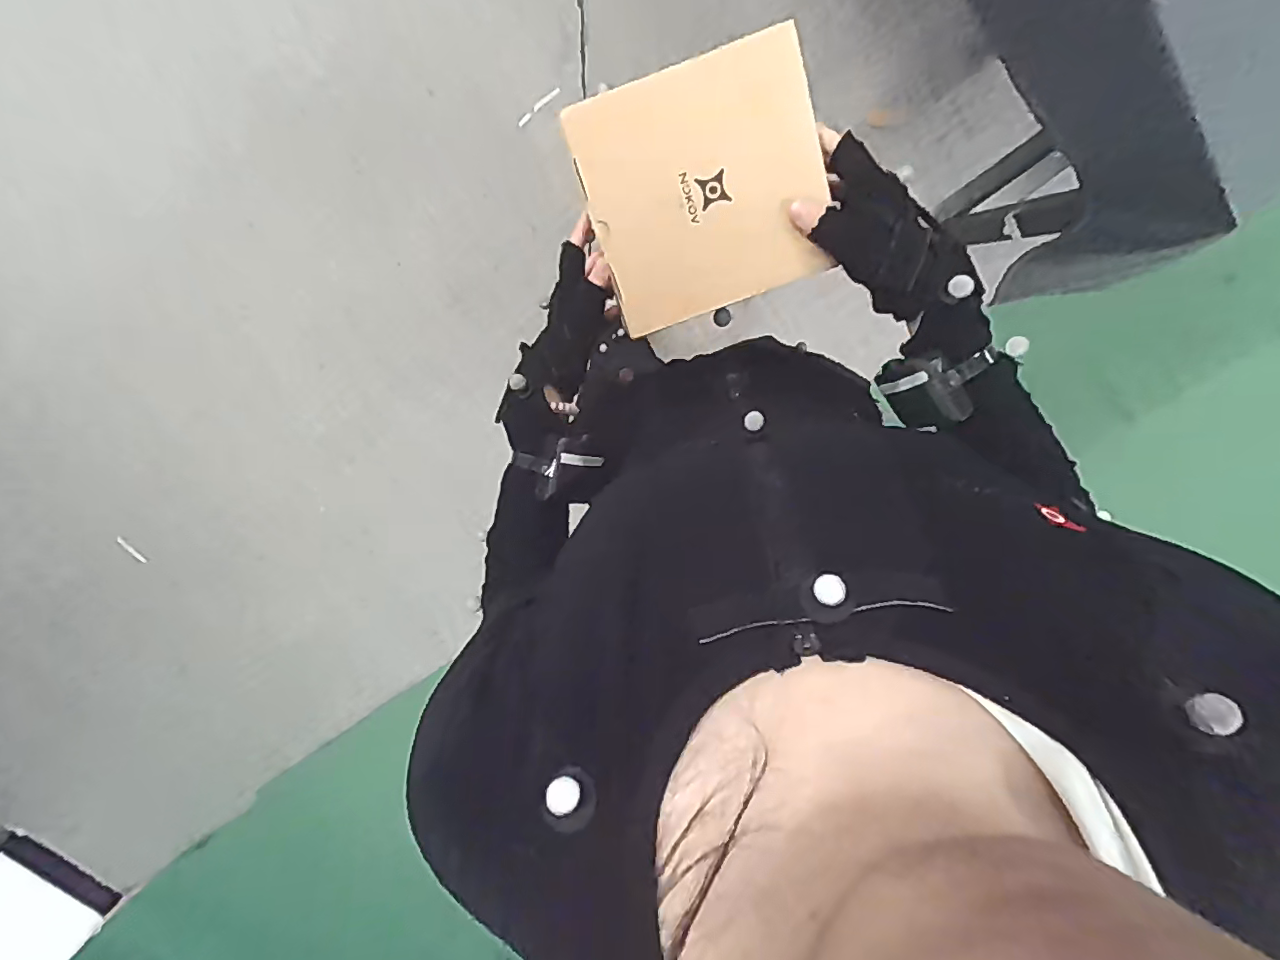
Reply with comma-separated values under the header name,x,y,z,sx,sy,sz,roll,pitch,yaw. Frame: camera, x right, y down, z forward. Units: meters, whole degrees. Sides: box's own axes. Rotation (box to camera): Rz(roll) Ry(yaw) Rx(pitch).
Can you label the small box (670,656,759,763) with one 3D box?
name,x,y,z,sx,sy,sz,roll,pitch,yaw
small box,0.200,0.623,1.480,0.179,0.176,0.168,-34,105,14
